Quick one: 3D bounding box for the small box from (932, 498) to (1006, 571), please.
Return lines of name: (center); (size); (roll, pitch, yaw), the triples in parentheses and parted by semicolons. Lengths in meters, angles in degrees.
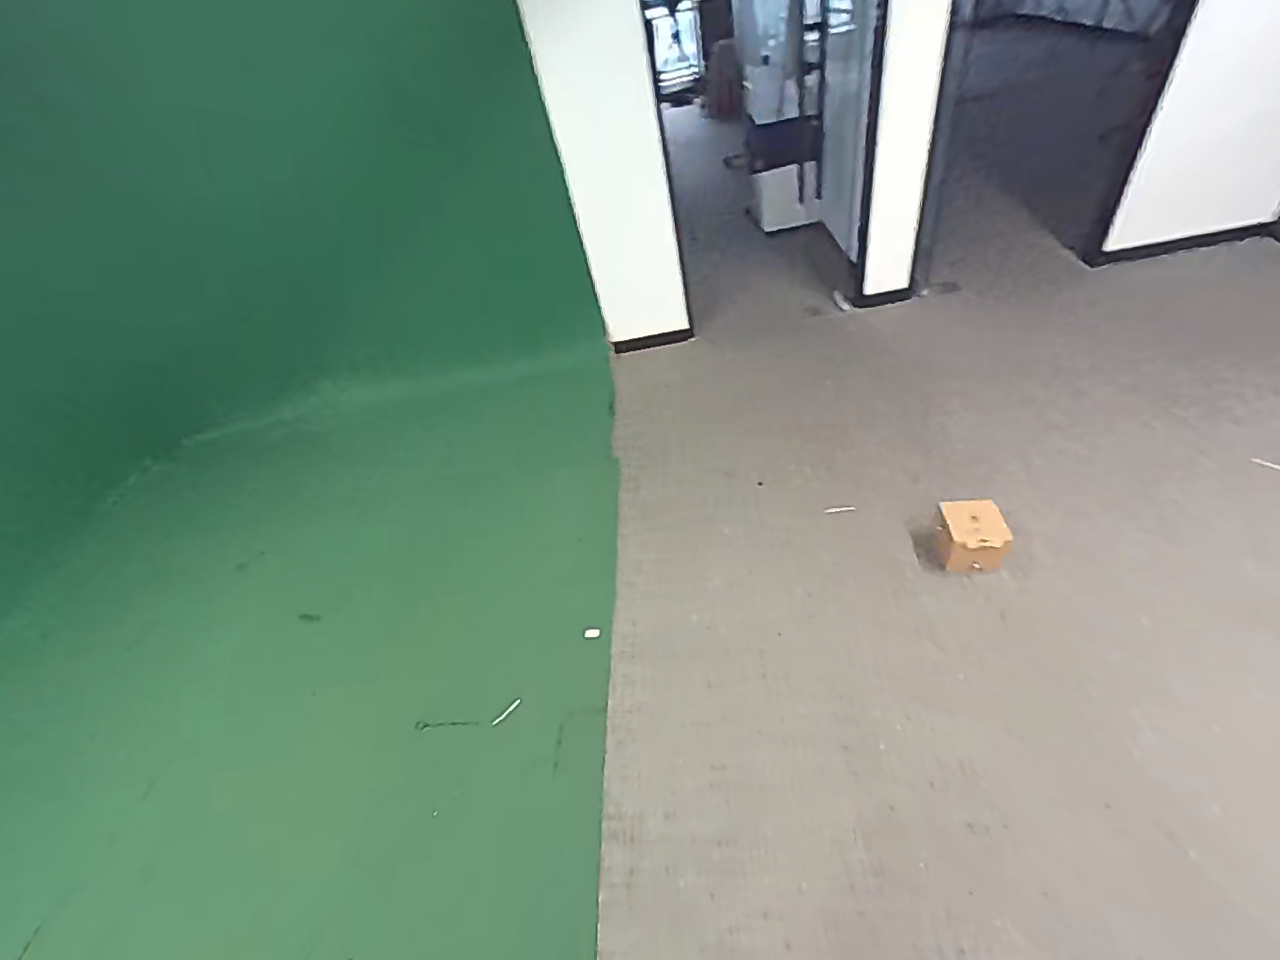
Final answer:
small box: (1.075, 0.179, 1.781); (0.168, 0.176, 0.179); (-1, 47, 18)
